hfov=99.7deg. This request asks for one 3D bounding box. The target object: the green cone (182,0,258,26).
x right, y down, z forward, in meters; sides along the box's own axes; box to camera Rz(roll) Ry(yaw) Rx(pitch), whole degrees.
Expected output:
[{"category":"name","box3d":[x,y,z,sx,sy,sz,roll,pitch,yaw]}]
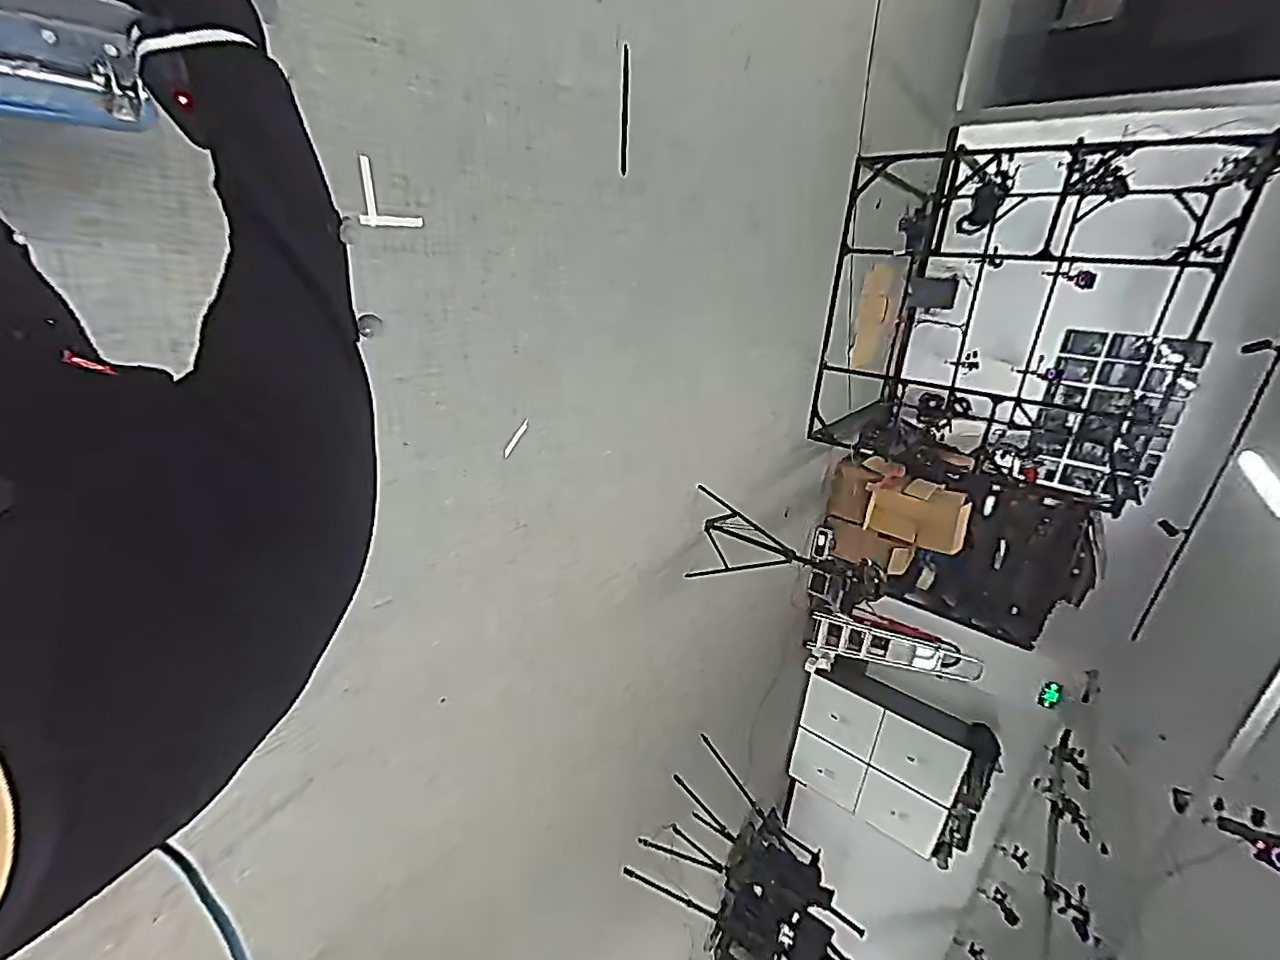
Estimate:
[{"category":"green cone","box3d":[-0.697,-0.951,0.912,0.202,0.368,0.200,-20,122,-51]}]
